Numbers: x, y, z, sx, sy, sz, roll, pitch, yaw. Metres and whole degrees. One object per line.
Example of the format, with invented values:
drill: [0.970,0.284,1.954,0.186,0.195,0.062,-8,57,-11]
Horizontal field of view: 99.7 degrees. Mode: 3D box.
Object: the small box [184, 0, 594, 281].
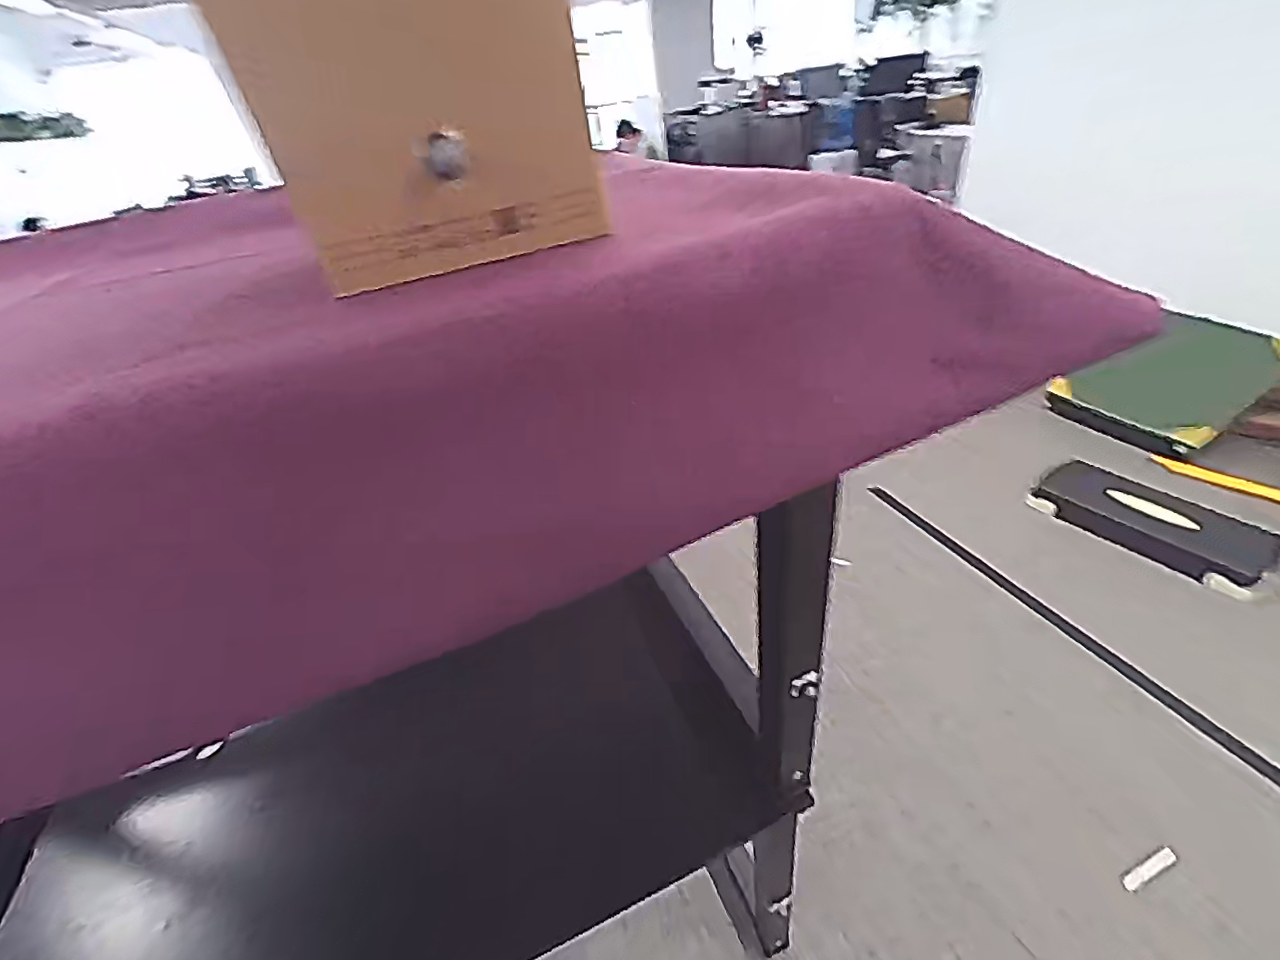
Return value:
small box: [-0.139,-0.234,0.327,0.168,0.176,0.179,-19,37,-11]
